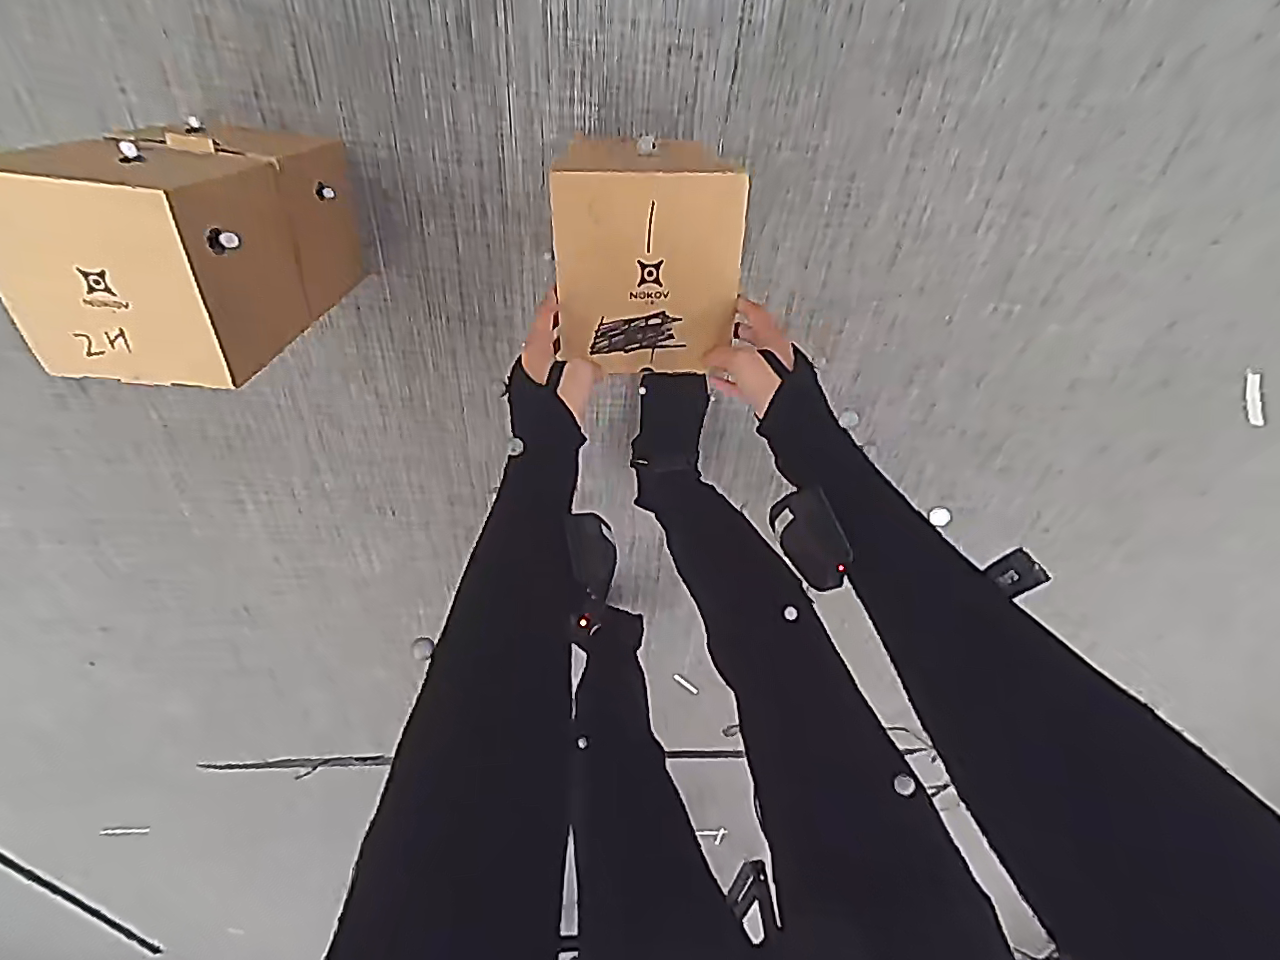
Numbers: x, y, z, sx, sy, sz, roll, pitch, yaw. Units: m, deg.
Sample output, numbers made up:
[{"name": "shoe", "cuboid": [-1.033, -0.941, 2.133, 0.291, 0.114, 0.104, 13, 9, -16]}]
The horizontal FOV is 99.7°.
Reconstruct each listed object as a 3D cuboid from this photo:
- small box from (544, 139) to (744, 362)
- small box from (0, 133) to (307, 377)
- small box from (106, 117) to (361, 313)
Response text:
[{"name": "small box", "cuboid": [-0.004, -0.235, 0.548, 0.168, 0.176, 0.179, -2, 125, -5]}, {"name": "small box", "cuboid": [-0.460, -0.221, 0.523, 0.168, 0.176, 0.179, 4, 127, -6]}, {"name": "small box", "cuboid": [-0.461, -0.322, 0.653, 0.168, 0.176, 0.179, 5, 126, -7]}]
